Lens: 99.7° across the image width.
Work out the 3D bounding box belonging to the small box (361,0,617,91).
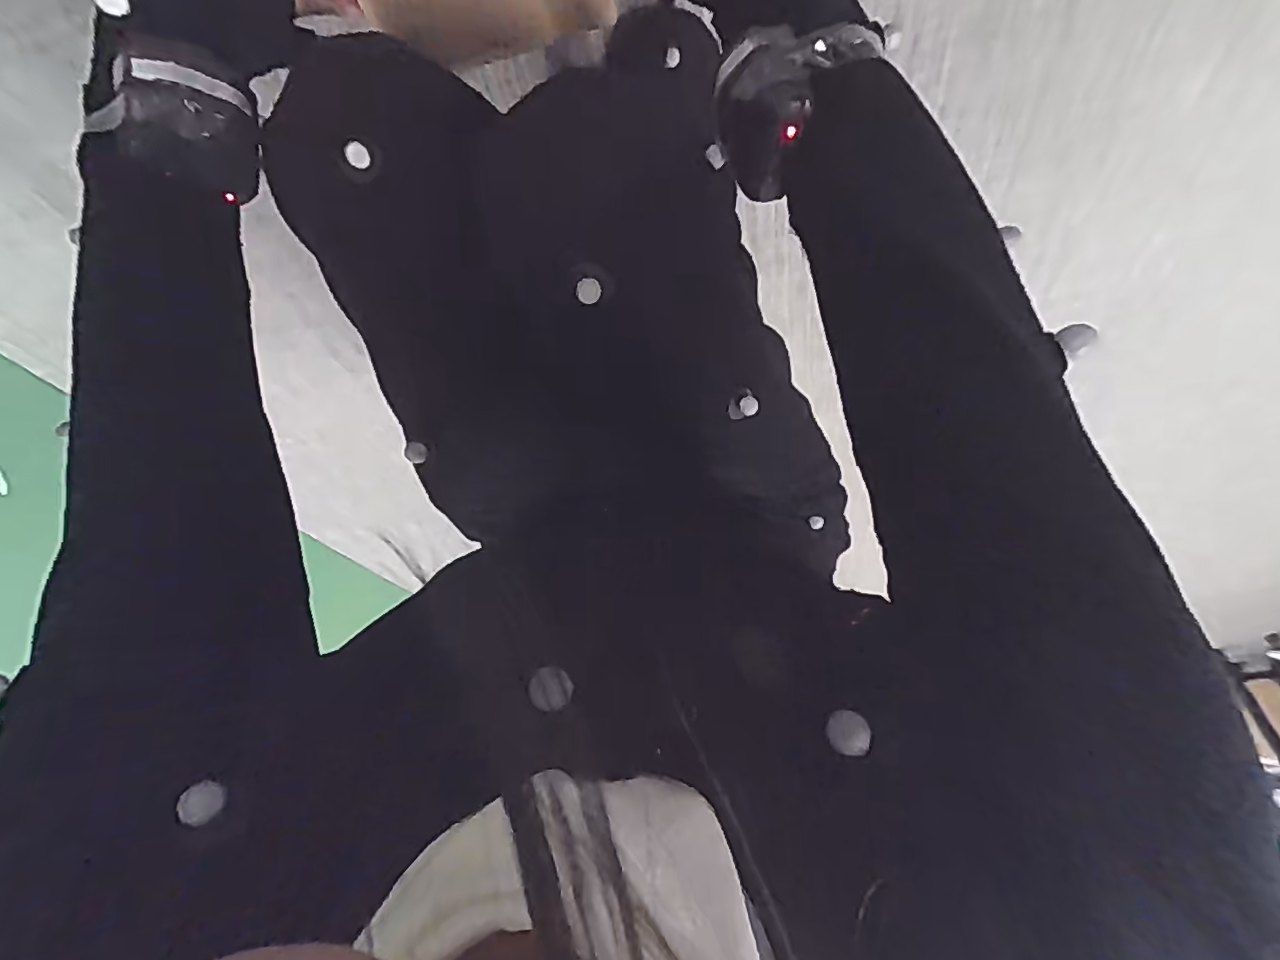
[{"bbox_3d":[-0.124,-0.433,0.394,0.179,0.176,0.168,-10,146,10],"label":"small box"}]

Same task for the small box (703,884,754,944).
[{"bbox_3d":[0.347,1.698,2.124,0.179,0.176,0.168,-10,148,8],"label":"small box"}]

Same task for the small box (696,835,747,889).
[{"bbox_3d":[0.330,1.563,2.216,0.179,0.176,0.168,-13,147,12],"label":"small box"}]
